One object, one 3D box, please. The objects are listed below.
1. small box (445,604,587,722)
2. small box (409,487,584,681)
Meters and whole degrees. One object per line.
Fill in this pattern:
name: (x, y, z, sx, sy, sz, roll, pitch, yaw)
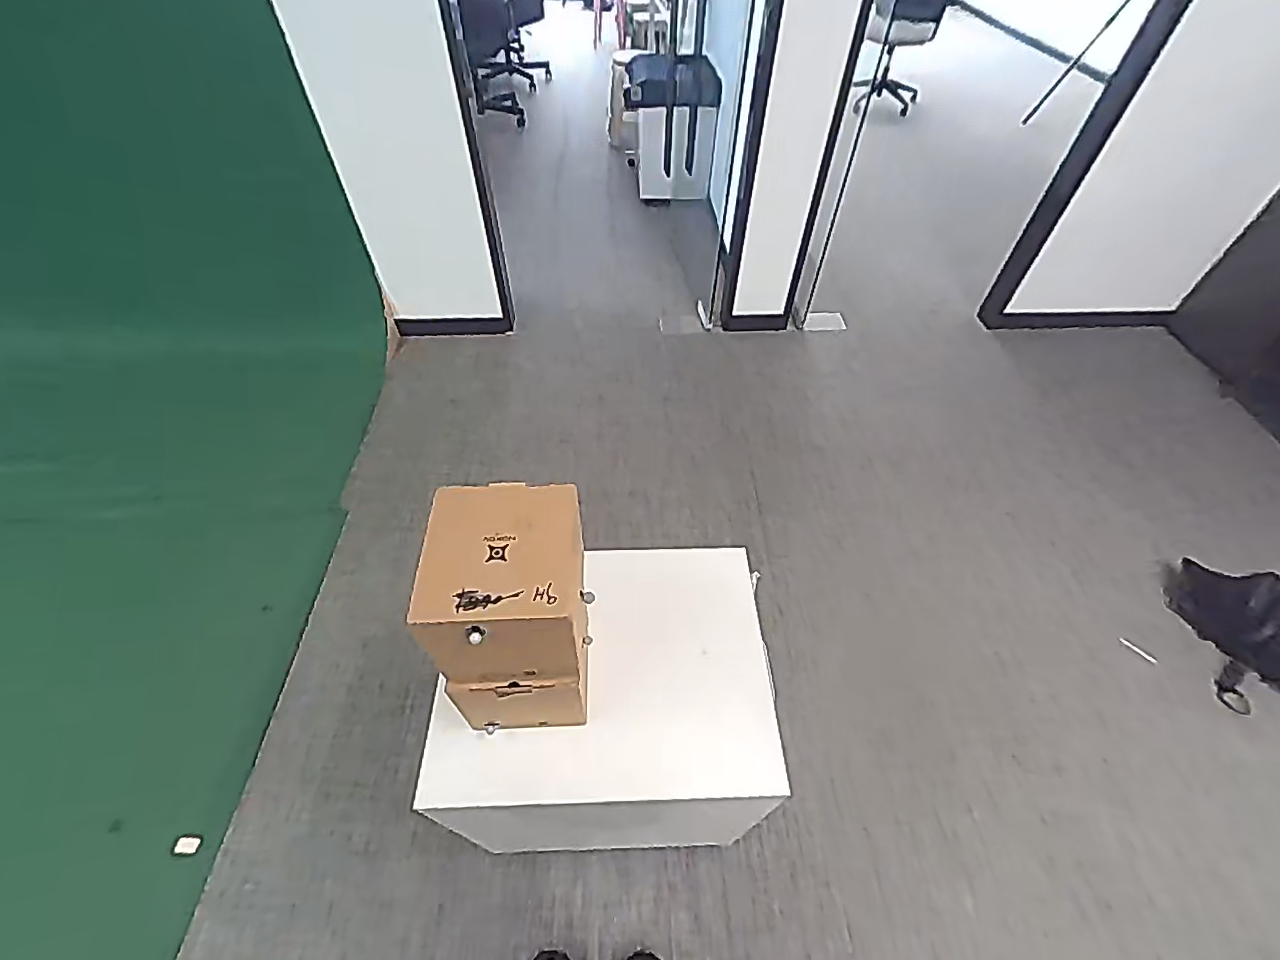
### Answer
small box: (-0.164, 0.239, 0.780, 0.168, 0.176, 0.179, -1, 50, -3)
small box: (-0.158, 0.127, 0.662, 0.168, 0.176, 0.179, -2, 49, -2)
